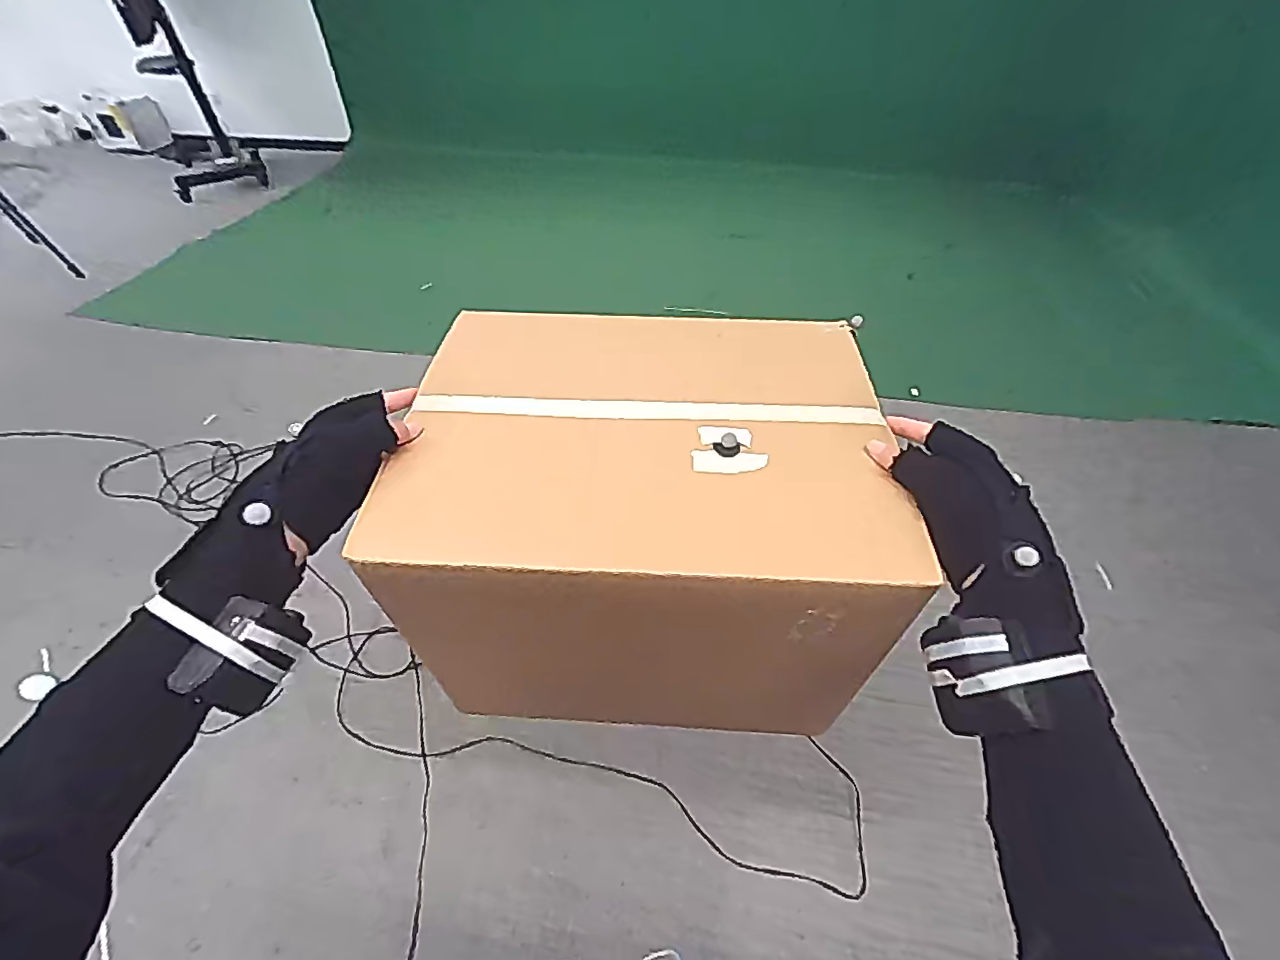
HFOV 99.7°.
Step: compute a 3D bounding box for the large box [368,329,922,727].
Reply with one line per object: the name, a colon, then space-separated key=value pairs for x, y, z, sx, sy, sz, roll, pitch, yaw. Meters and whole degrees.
large box: x=0.005 y=0.054 z=0.589 sx=0.408 sy=0.320 sz=0.320 roll=3 pitch=48 yaw=2
